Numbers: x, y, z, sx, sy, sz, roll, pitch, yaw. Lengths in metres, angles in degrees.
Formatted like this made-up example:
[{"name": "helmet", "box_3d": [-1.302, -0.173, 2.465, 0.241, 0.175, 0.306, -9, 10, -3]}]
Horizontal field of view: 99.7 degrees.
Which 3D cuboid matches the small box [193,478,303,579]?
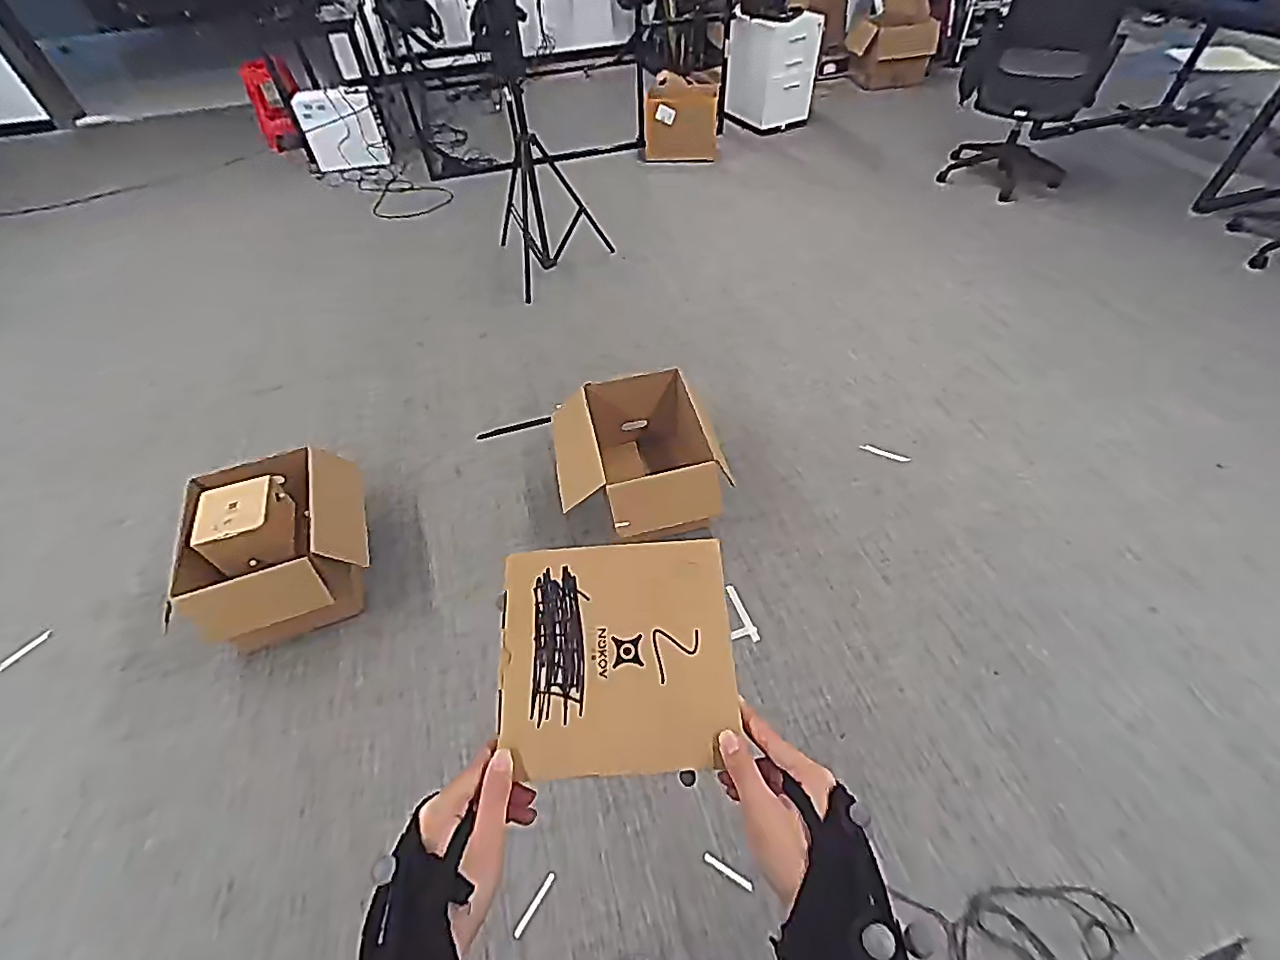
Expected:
[{"name": "small box", "box_3d": [-1.006, 0.128, 1.408, 0.168, 0.176, 0.179, -17, 52, -10]}]
